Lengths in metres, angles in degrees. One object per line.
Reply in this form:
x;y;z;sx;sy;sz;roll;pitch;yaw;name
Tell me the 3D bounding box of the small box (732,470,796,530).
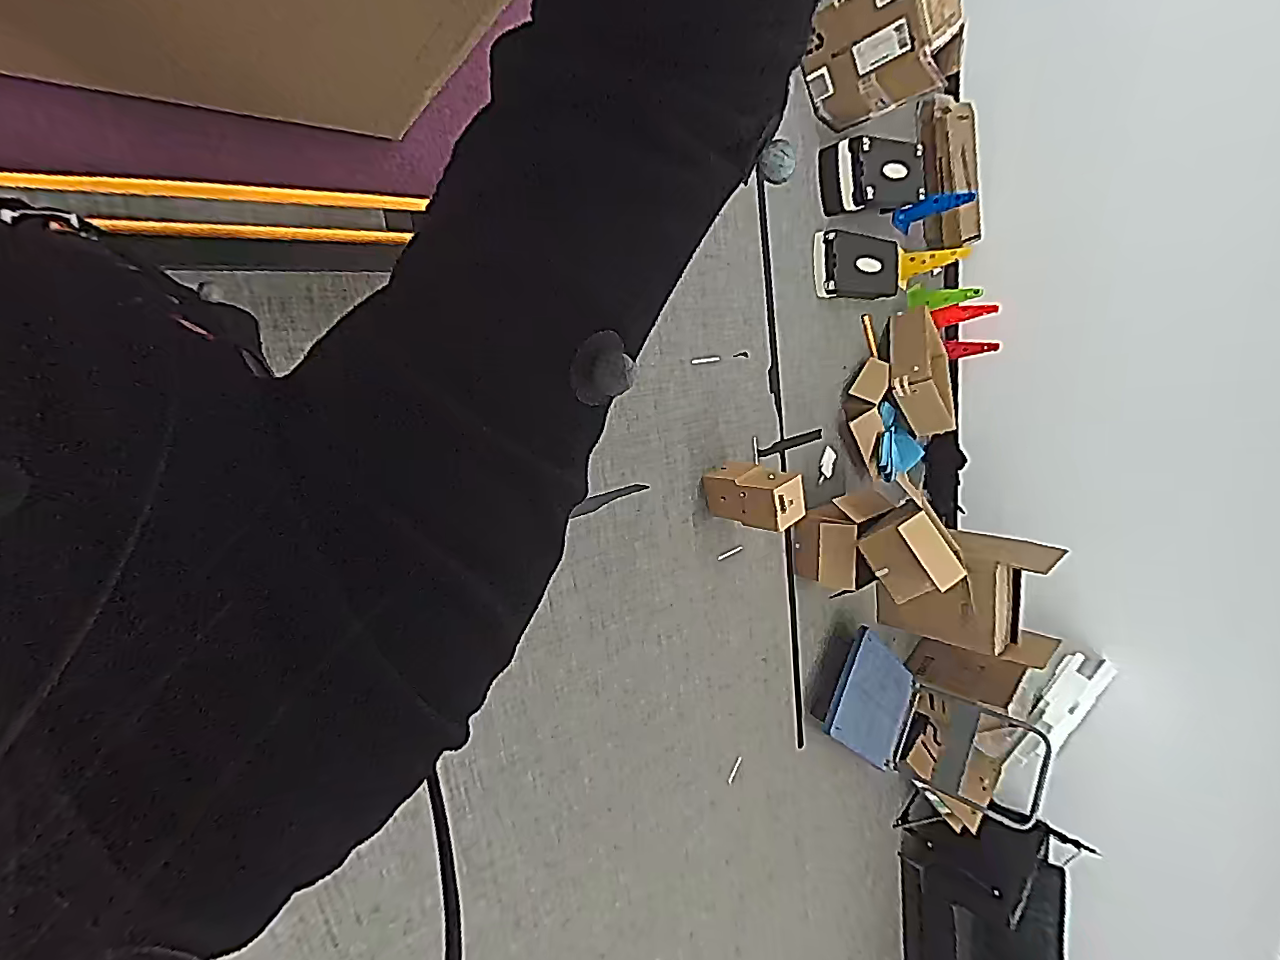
0.453;0.070;2.003;0.179;0.176;0.168;-24;112;-38;small box
